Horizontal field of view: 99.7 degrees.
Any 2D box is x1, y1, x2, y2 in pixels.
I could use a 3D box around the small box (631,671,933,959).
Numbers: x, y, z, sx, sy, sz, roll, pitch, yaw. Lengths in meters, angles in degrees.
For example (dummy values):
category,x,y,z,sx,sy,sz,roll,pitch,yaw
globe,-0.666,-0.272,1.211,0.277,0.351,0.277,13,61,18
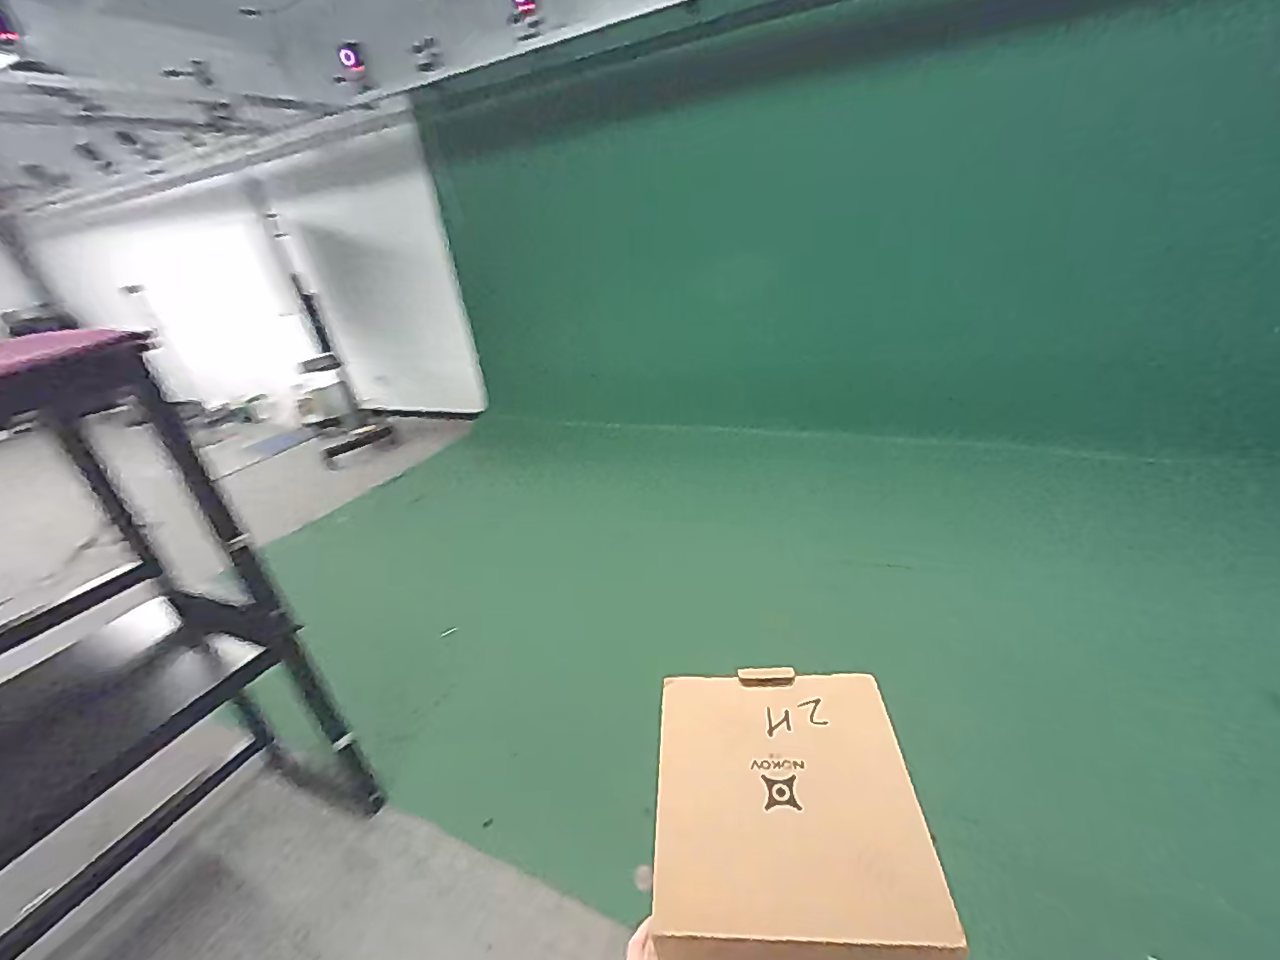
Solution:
category,x,y,z,sx,sy,sz,roll,pitch,yaw
small box,0.092,0.270,0.402,0.168,0.176,0.179,-4,29,7
